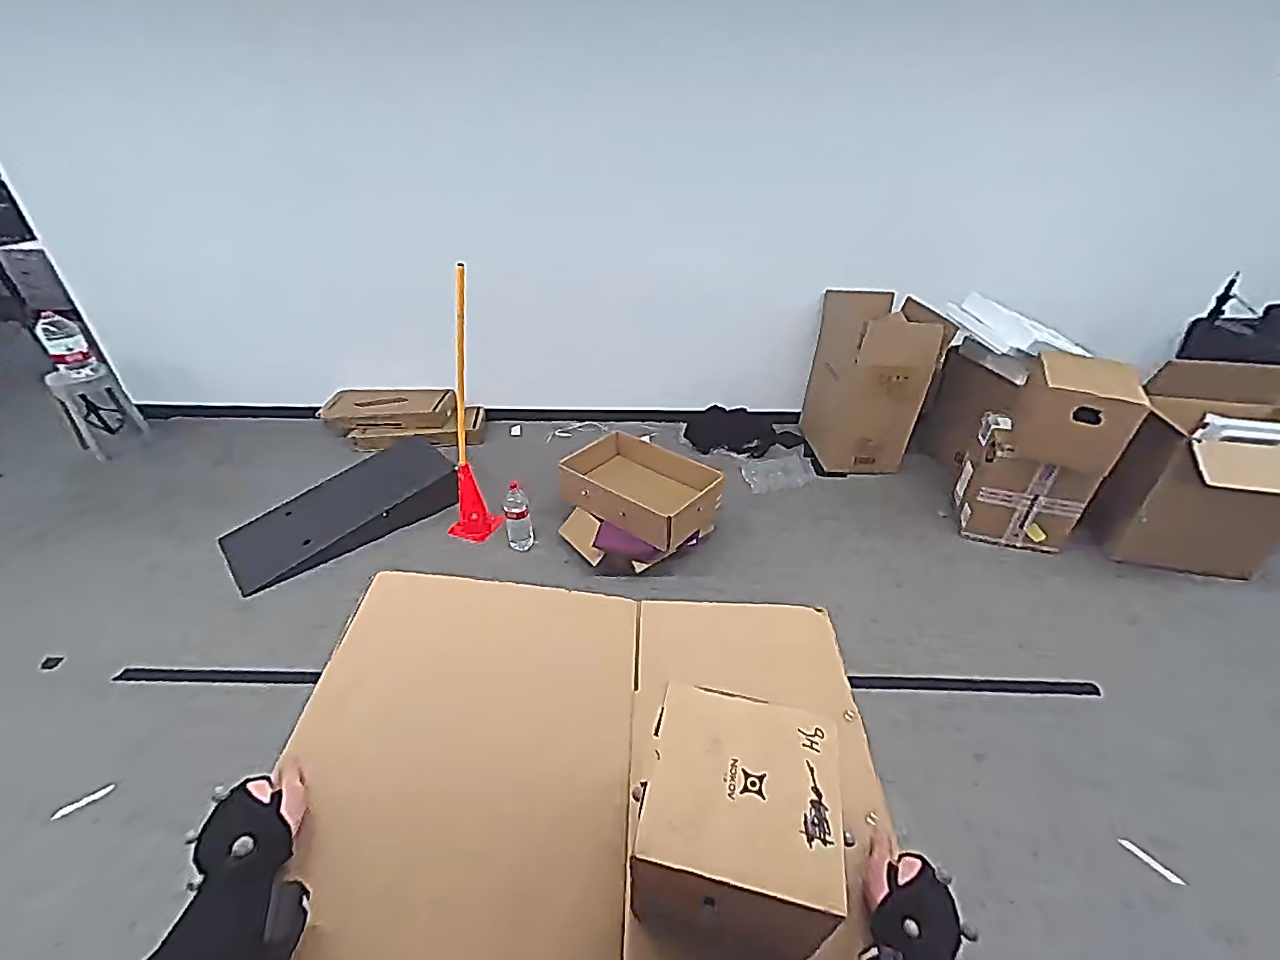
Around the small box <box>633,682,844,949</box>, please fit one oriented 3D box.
[{"bbox_3d":[0.098,0.339,0.551,0.179,0.176,0.168,8,39,11],"label":"small box"}]
